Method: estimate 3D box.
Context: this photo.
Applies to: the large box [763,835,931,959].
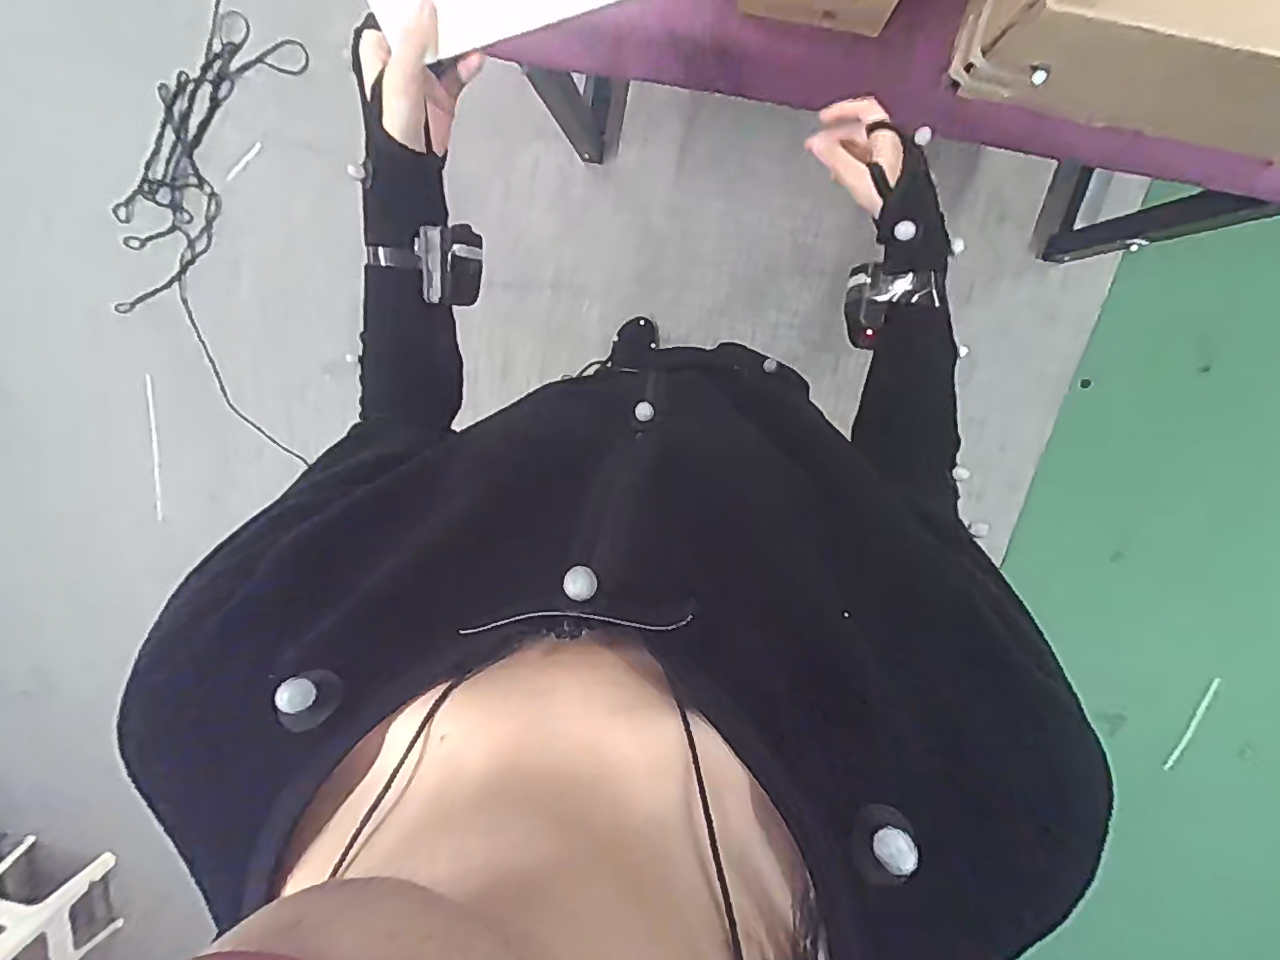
[{"bbox_3d":[0.591,1.321,1.619,0.408,0.320,0.320,-2,104,6],"label":"large box"}]
